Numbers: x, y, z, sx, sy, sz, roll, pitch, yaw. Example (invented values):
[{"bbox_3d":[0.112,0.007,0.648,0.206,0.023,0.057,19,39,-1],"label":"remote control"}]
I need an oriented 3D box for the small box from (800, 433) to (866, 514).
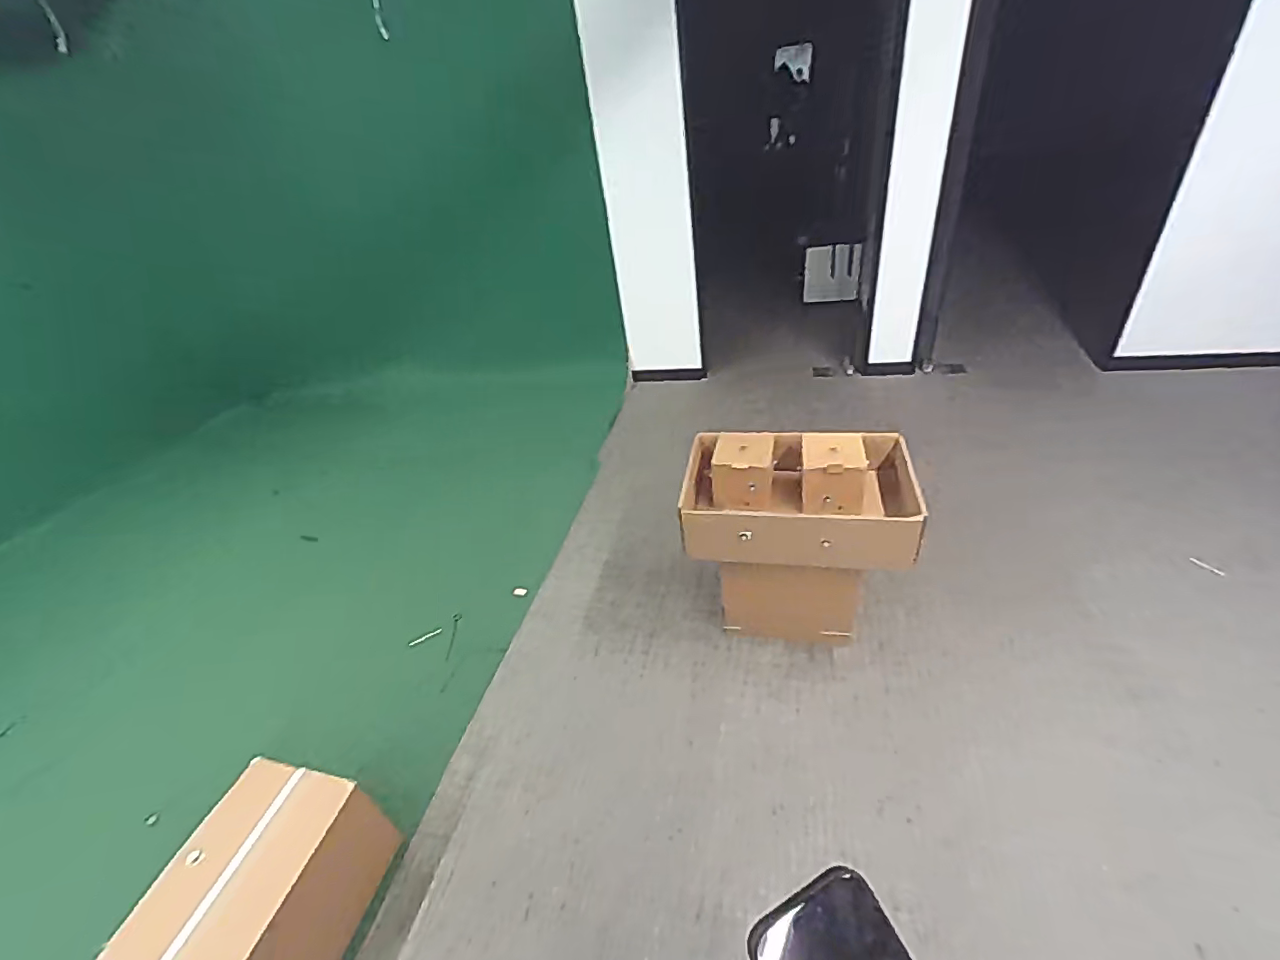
[{"bbox_3d":[0.555,-0.021,1.571,0.168,0.176,0.179,0,38,15],"label":"small box"}]
